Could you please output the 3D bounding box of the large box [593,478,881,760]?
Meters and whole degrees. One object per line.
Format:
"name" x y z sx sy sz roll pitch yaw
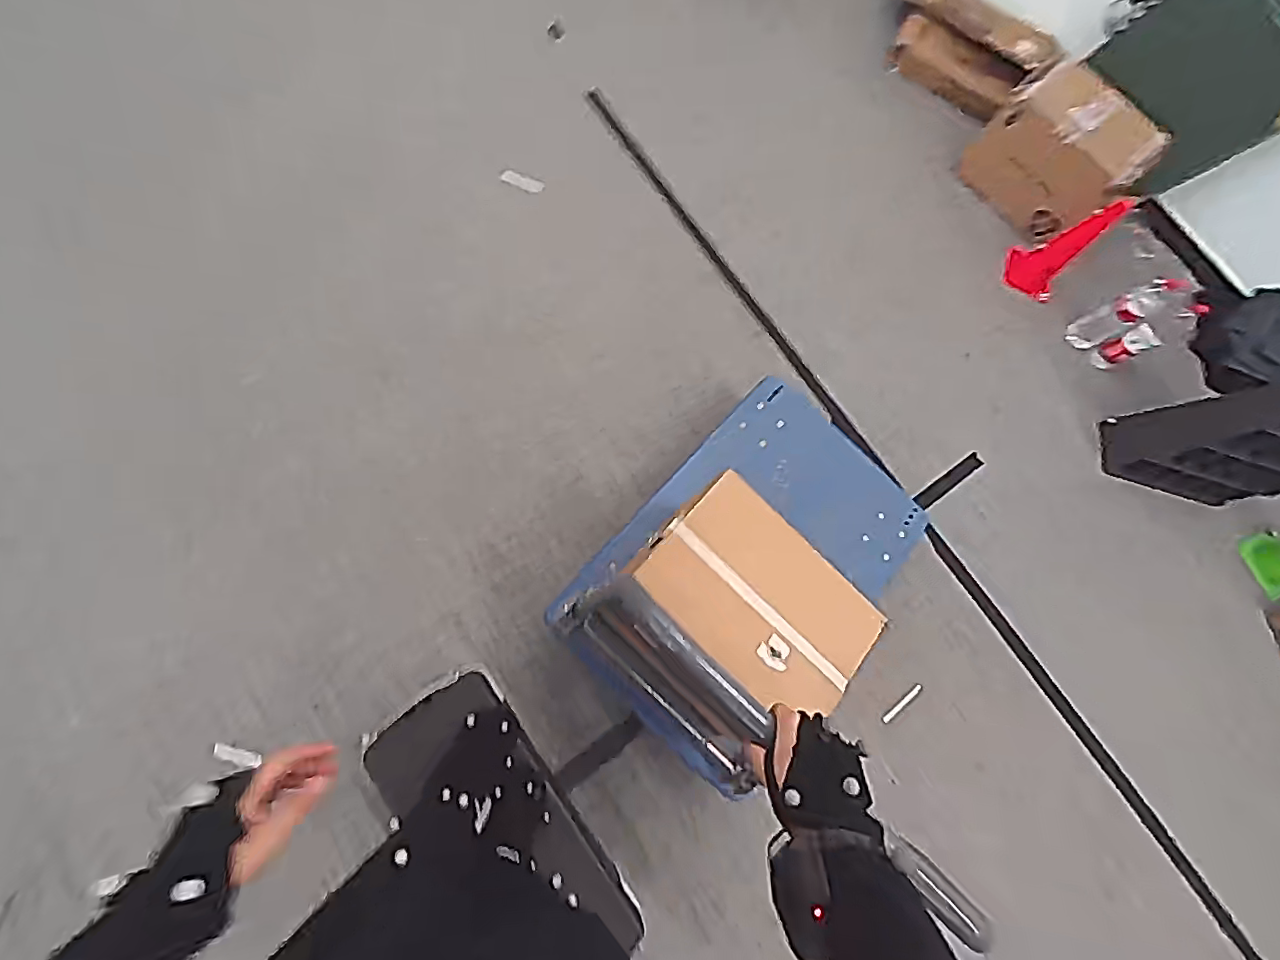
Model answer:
"large box" 0.169 0.270 1.082 0.408 0.320 0.320 44 68 1
